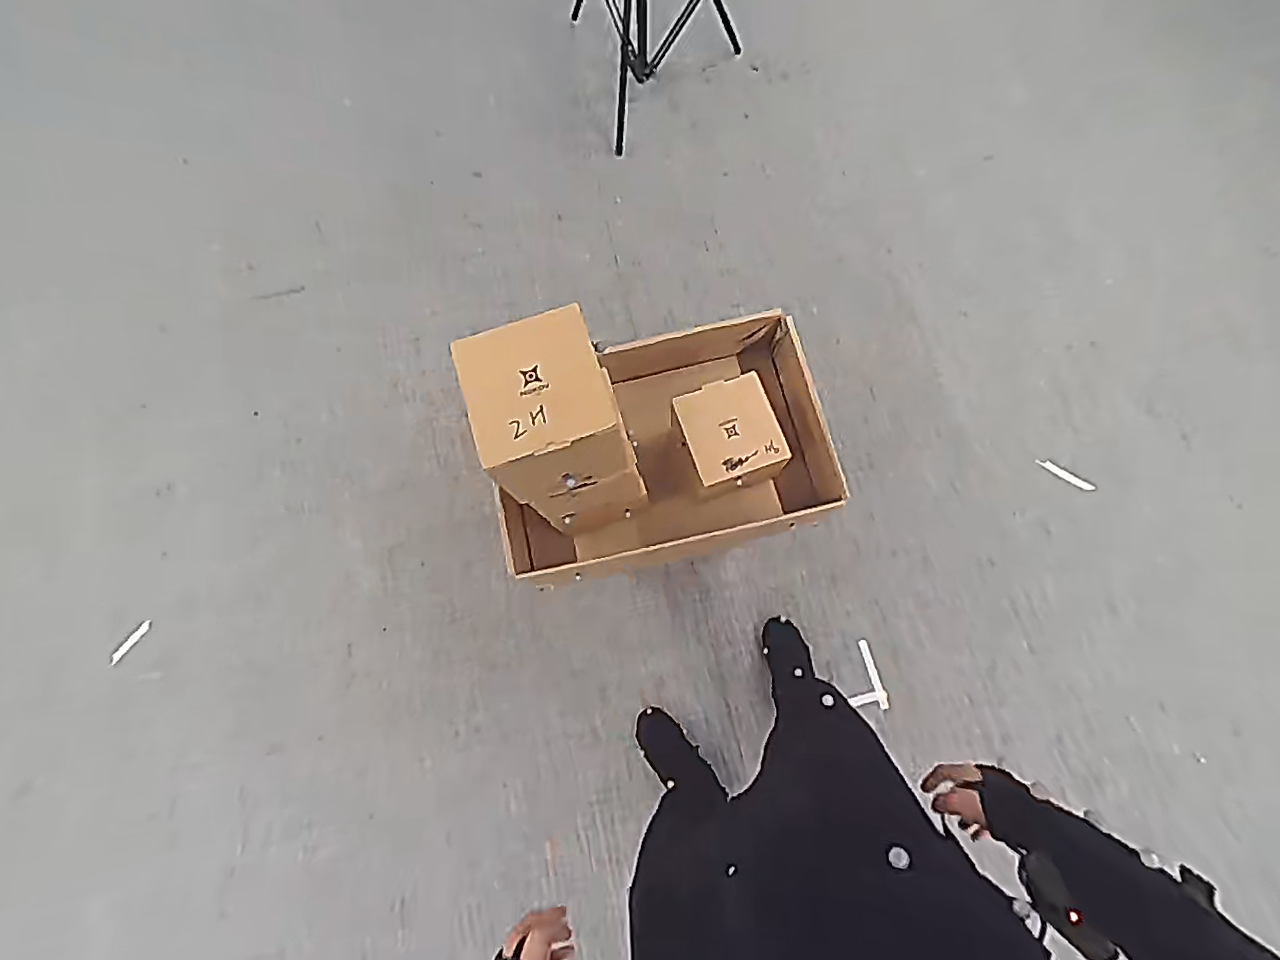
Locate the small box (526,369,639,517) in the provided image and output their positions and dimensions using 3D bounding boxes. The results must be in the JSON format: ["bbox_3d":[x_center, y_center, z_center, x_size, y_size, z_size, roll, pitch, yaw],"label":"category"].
[{"bbox_3d":[-0.102,-0.047,0.871,0.168,0.176,0.179,-16,75,-2],"label":"small box"}]

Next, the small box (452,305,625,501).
[{"bbox_3d":[-0.124,-0.091,0.713,0.168,0.176,0.179,-18,75,-2],"label":"small box"}]
